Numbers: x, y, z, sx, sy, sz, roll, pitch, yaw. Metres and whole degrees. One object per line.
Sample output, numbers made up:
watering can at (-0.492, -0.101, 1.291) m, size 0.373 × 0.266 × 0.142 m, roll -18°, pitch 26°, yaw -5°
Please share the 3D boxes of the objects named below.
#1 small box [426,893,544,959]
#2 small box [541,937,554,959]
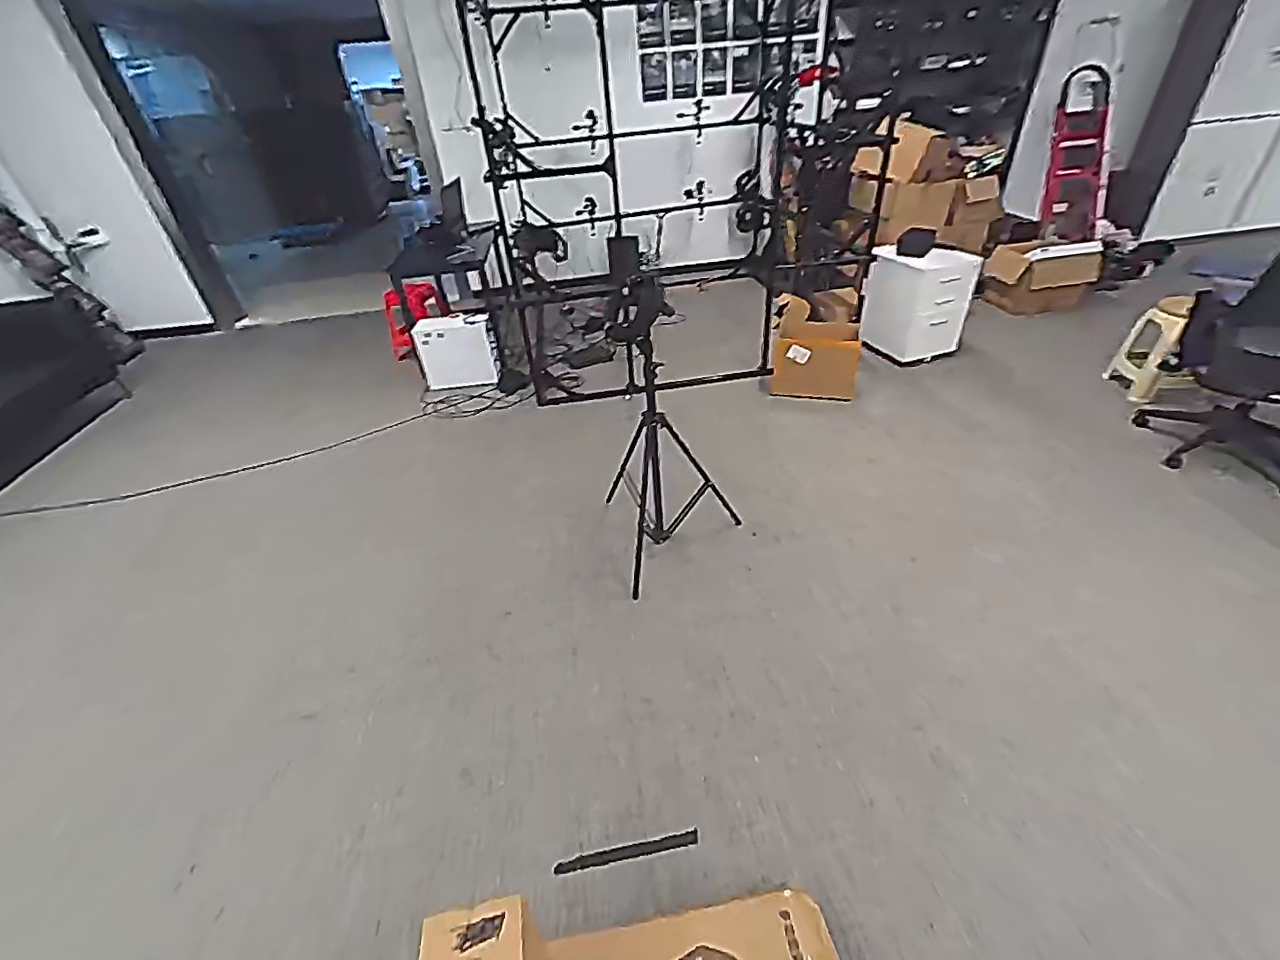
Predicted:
small box at (-0.253, 0.833, 0.893) m, size 0.168 × 0.176 × 0.179 m, roll -9°, pitch 36°, yaw -6°
small box at (-0.237, 0.975, 0.975) m, size 0.168 × 0.176 × 0.179 m, roll -9°, pitch 36°, yaw -5°
